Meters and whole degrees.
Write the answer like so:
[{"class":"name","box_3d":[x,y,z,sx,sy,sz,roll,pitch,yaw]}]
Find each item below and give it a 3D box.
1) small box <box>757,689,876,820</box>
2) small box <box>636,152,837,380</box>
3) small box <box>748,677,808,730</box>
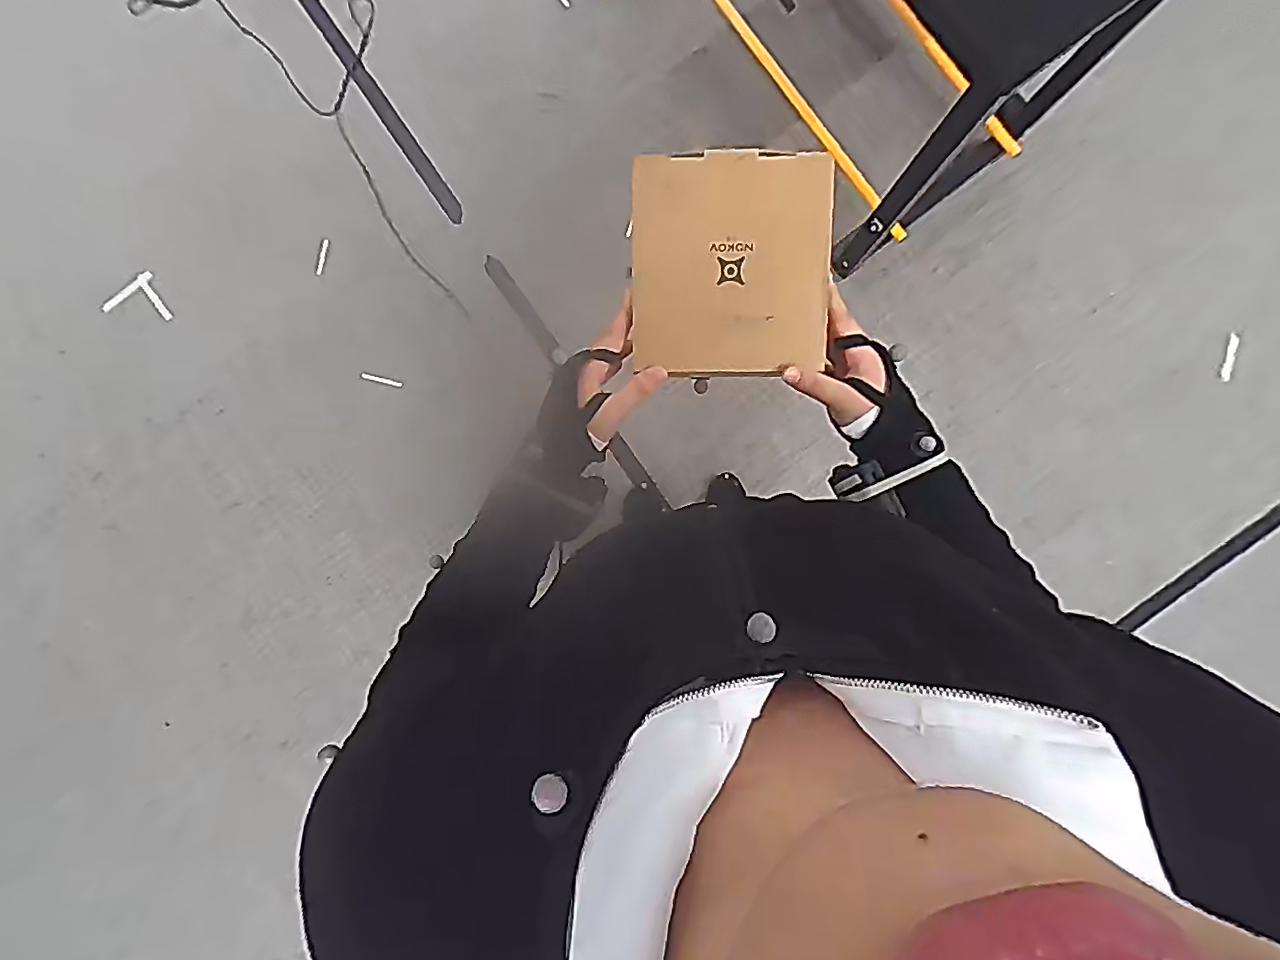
[{"class":"small box","box_3d":[0.393,0.615,1.239,0.179,0.176,0.168,-36,88,2]},{"class":"small box","box_3d":[0.080,-0.190,0.528,0.168,0.176,0.179,0,99,2]},{"class":"small box","box_3d":[0.401,0.638,1.404,0.168,0.176,0.179,-34,87,1]}]
